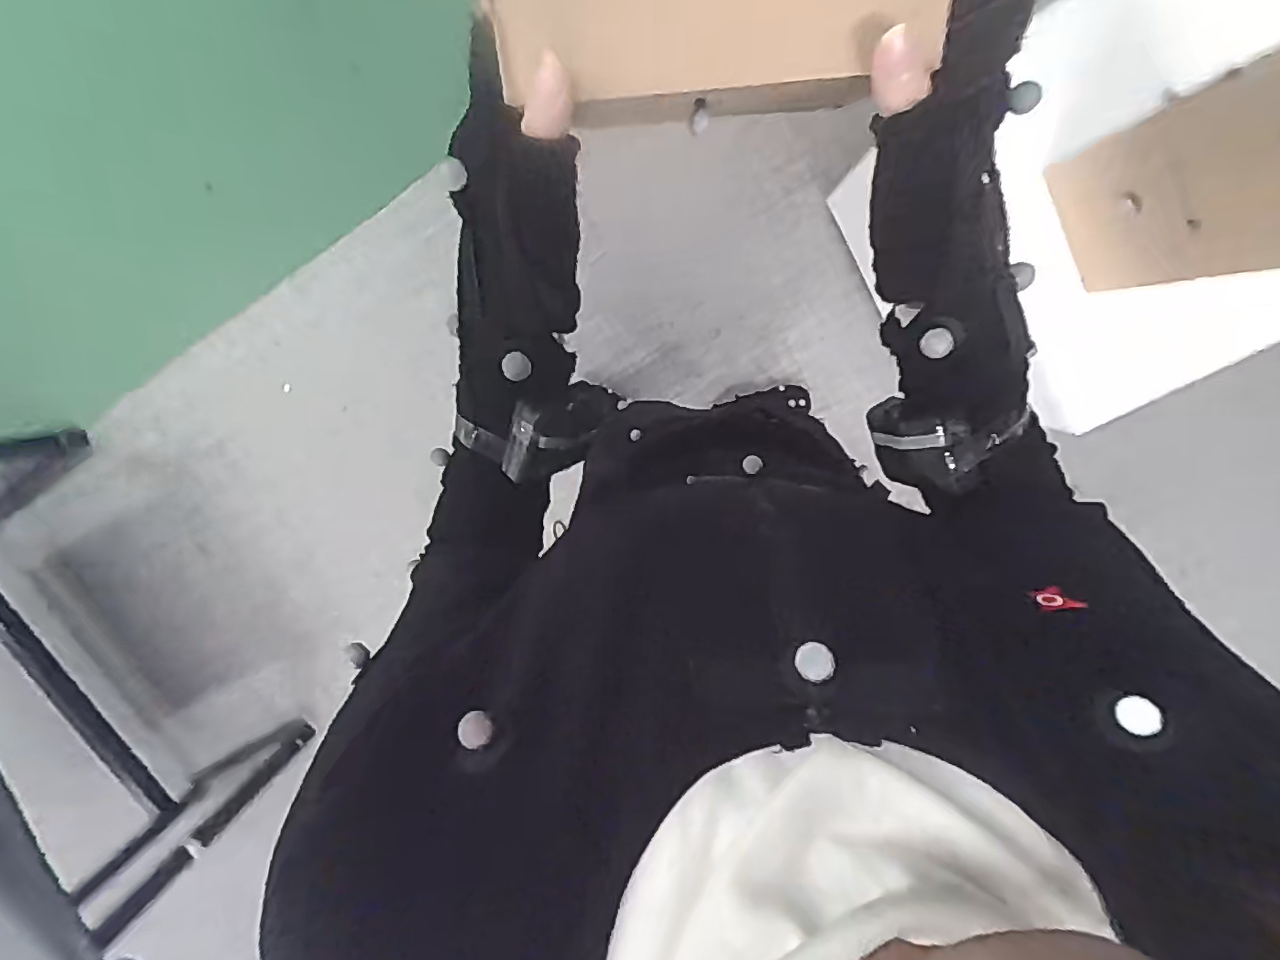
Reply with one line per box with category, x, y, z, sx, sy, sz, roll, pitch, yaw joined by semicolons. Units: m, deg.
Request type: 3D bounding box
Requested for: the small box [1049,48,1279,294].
small box;0.614;-0.331;0.611;0.168;0.176;0.179;-26;100;12
